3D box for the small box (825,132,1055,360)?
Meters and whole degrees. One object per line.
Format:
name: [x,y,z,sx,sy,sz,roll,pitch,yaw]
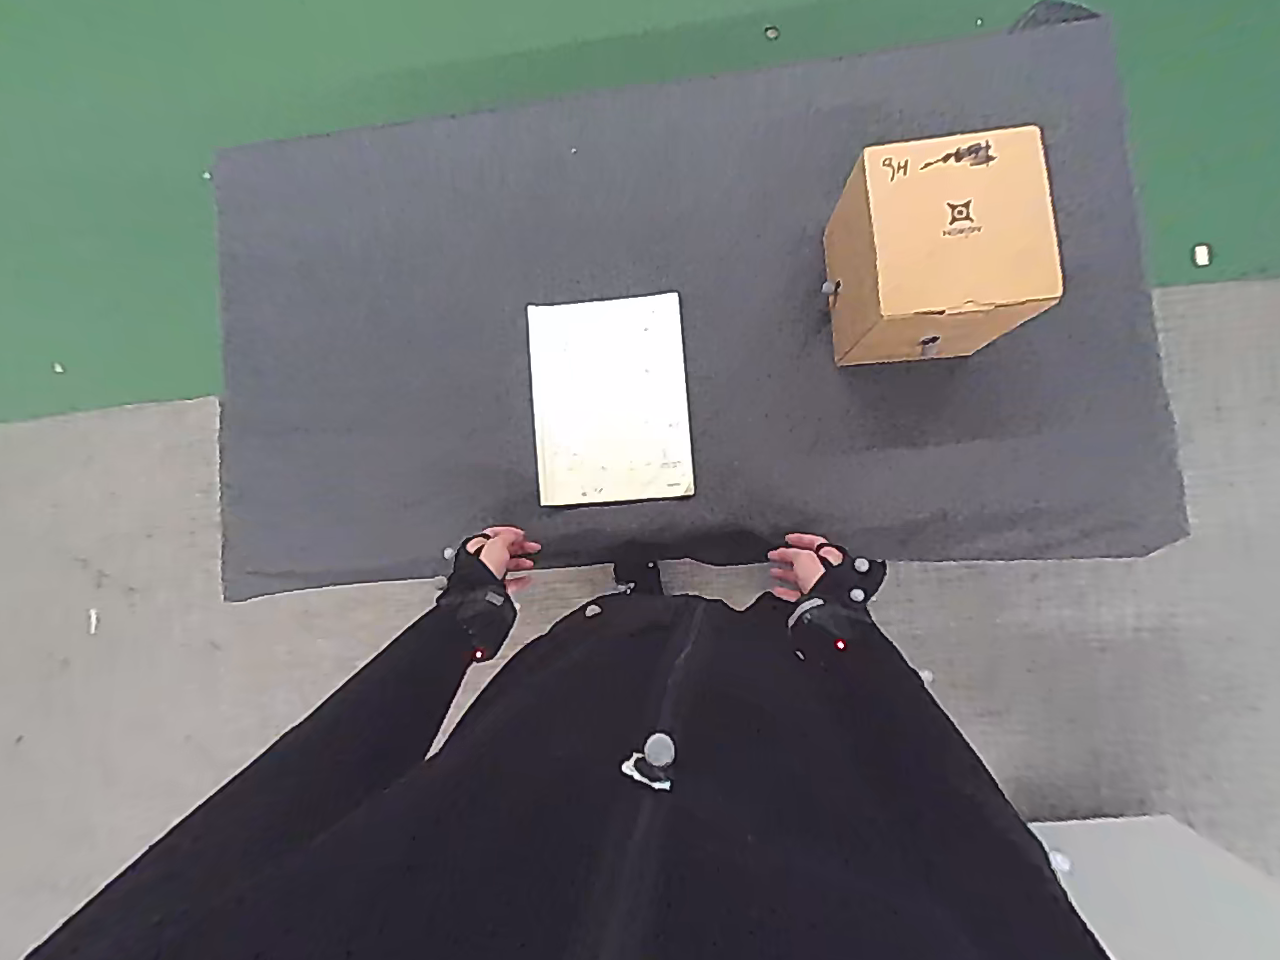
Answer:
small box: [0.313,-0.238,0.600,0.168,0.176,0.179,-4,87,5]
